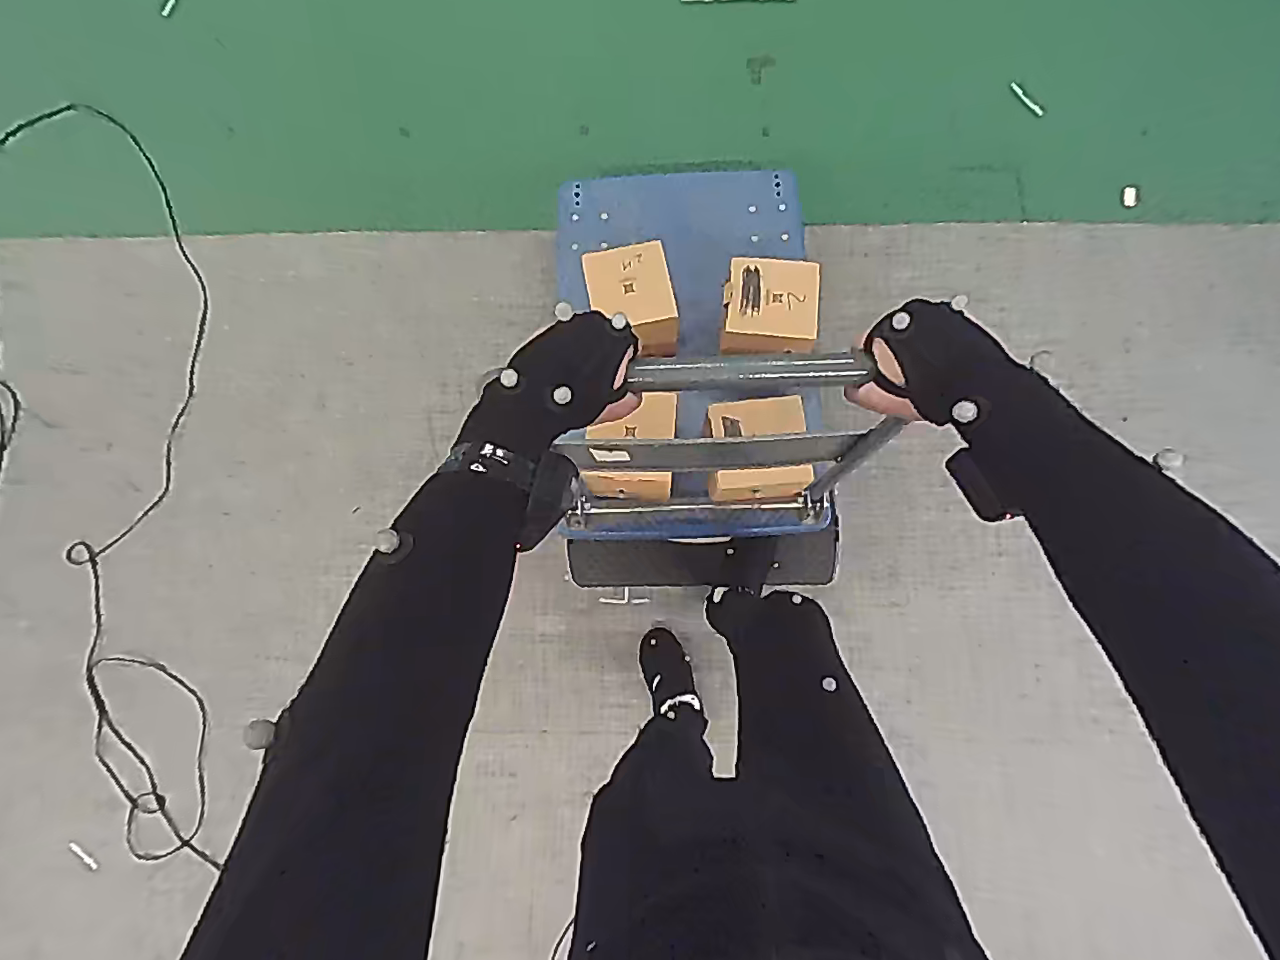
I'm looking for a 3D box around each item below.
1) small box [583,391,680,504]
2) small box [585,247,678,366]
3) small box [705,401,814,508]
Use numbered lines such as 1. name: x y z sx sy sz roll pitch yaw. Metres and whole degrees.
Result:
1. small box: -0.014 -0.059 1.072 0.168 0.176 0.179 5 77 2
2. small box: -0.015 -0.355 1.141 0.168 0.176 0.179 -10 76 -1
3. small box: 0.222 -0.043 1.058 0.179 0.176 0.168 -5 77 0
